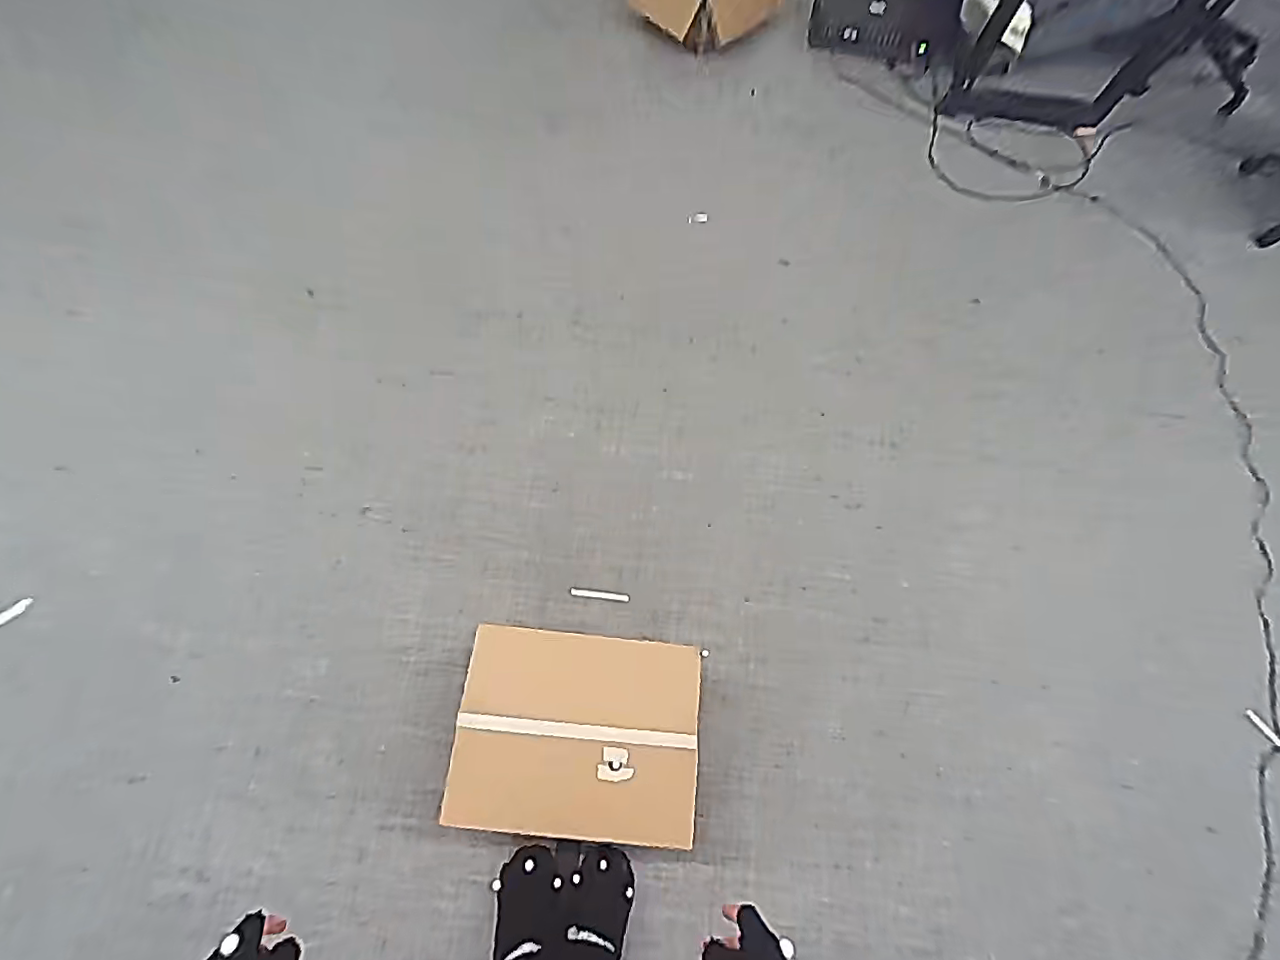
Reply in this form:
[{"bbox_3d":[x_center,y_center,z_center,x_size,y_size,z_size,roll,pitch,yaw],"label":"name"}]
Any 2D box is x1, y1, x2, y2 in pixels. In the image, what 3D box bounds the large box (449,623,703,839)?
[{"bbox_3d":[-0.109,0.473,1.055,0.408,0.320,0.320,7,68,-3],"label":"large box"}]
